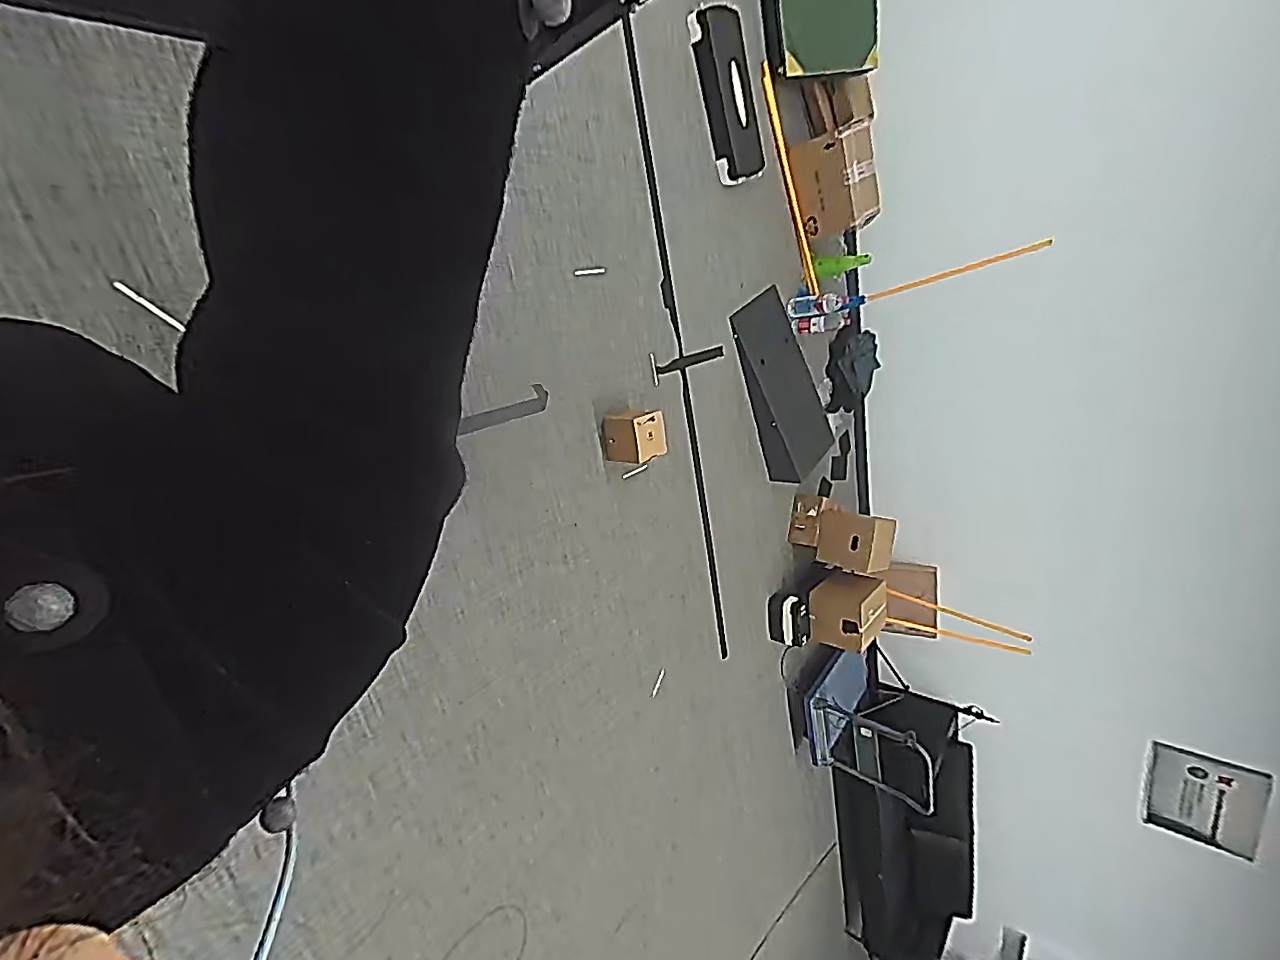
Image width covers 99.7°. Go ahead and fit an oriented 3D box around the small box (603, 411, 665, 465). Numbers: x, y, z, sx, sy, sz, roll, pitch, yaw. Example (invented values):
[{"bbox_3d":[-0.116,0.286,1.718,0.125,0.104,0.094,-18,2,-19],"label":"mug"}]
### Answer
[{"bbox_3d":[-0.025,-0.169,2.123,0.168,0.176,0.179,-24,113,-44],"label":"small box"}]
